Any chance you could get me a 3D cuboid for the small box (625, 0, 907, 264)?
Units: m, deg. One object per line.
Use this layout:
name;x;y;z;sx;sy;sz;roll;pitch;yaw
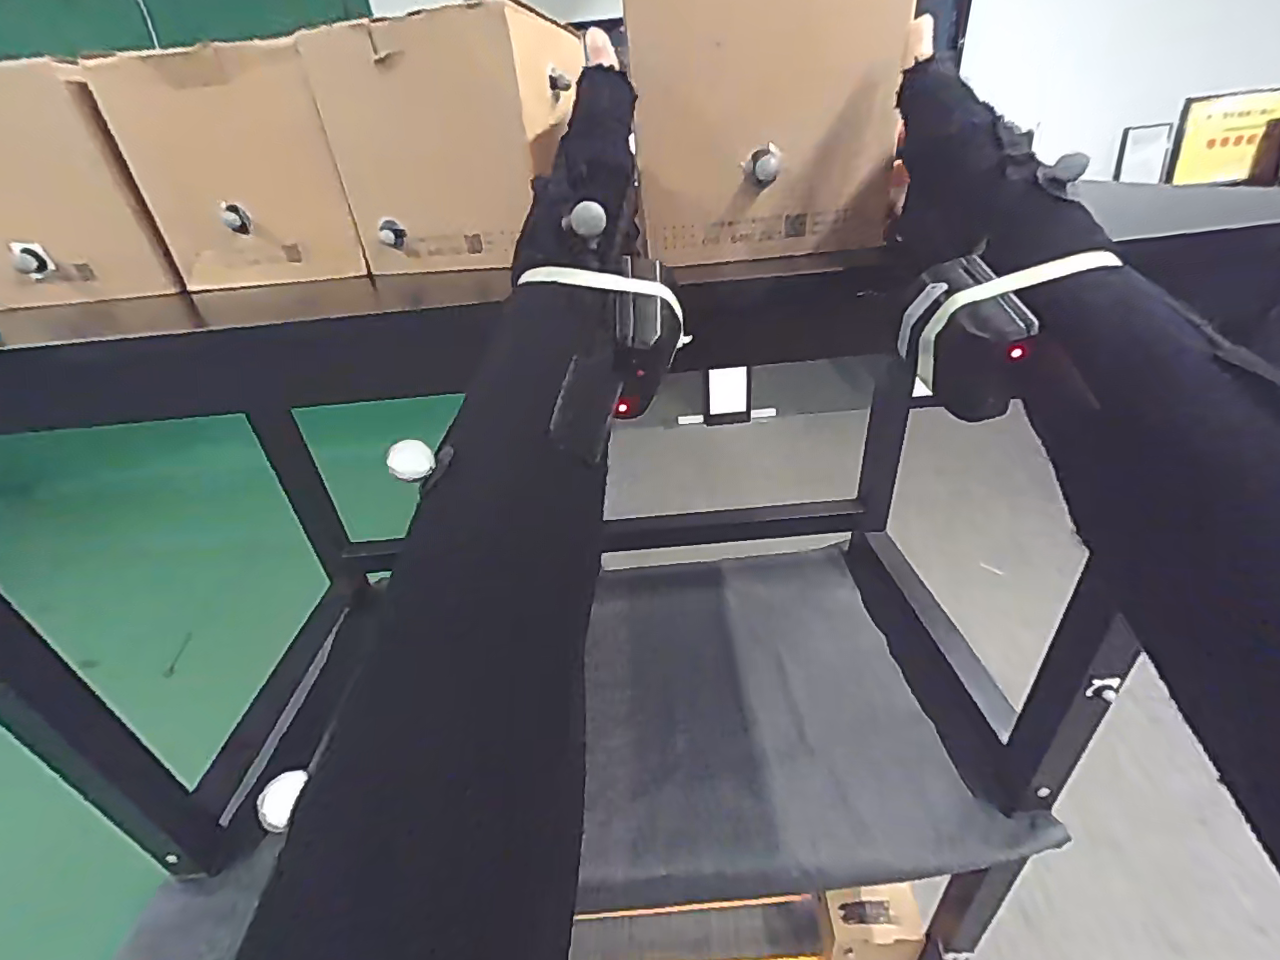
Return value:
small box;0.079;-0.269;0.415;0.168;0.176;0.179;-4;31;3
